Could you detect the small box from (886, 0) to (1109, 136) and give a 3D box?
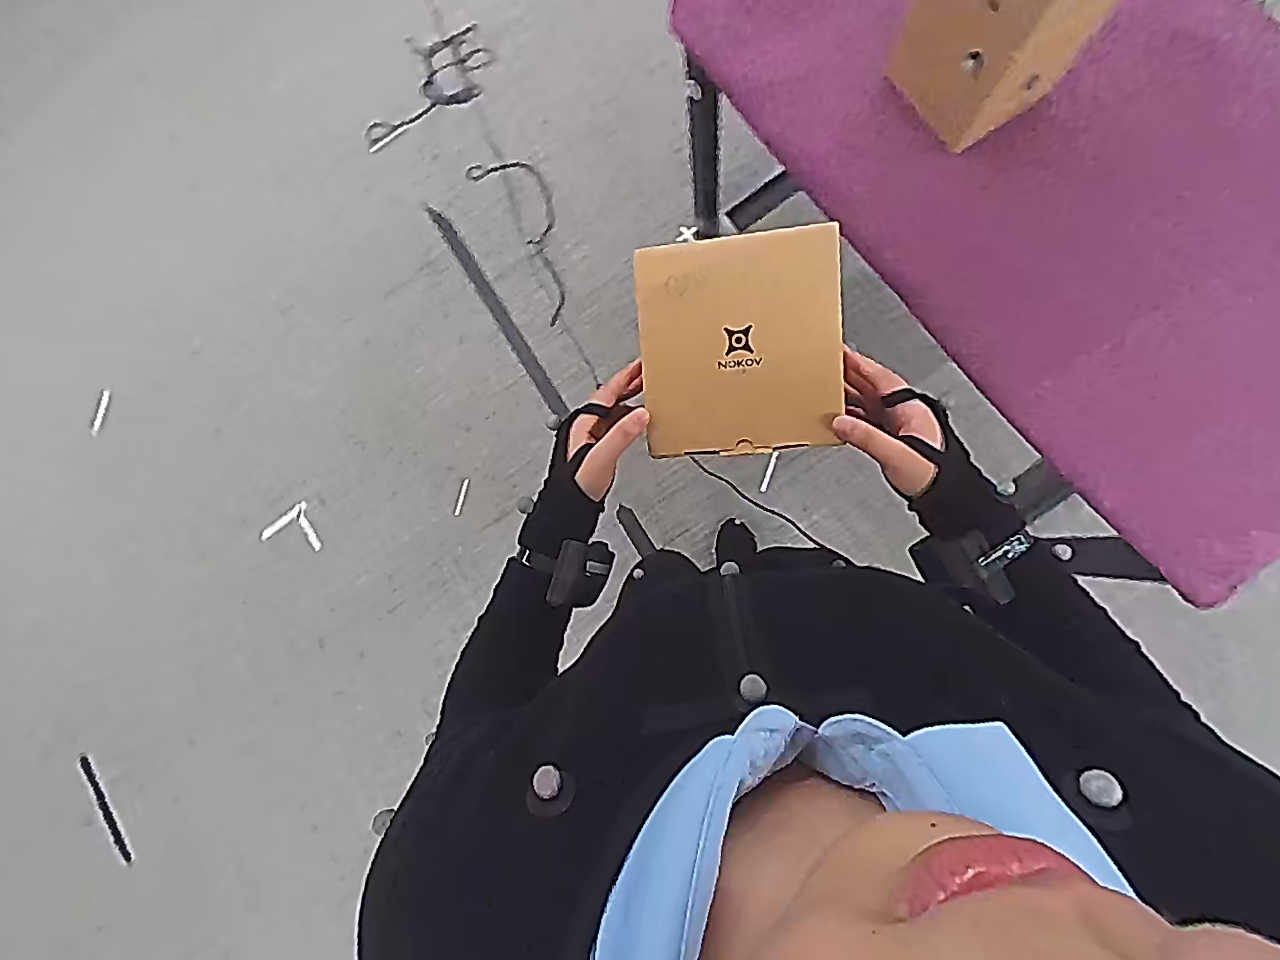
[{"bbox_3d":[0.470,-0.606,0.723,0.168,0.176,0.179,-33,81,2],"label":"small box"}]

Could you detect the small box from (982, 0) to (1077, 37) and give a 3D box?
[{"bbox_3d":[0.455,-0.627,0.560,0.179,0.176,0.168,-35,81,2],"label":"small box"}]
